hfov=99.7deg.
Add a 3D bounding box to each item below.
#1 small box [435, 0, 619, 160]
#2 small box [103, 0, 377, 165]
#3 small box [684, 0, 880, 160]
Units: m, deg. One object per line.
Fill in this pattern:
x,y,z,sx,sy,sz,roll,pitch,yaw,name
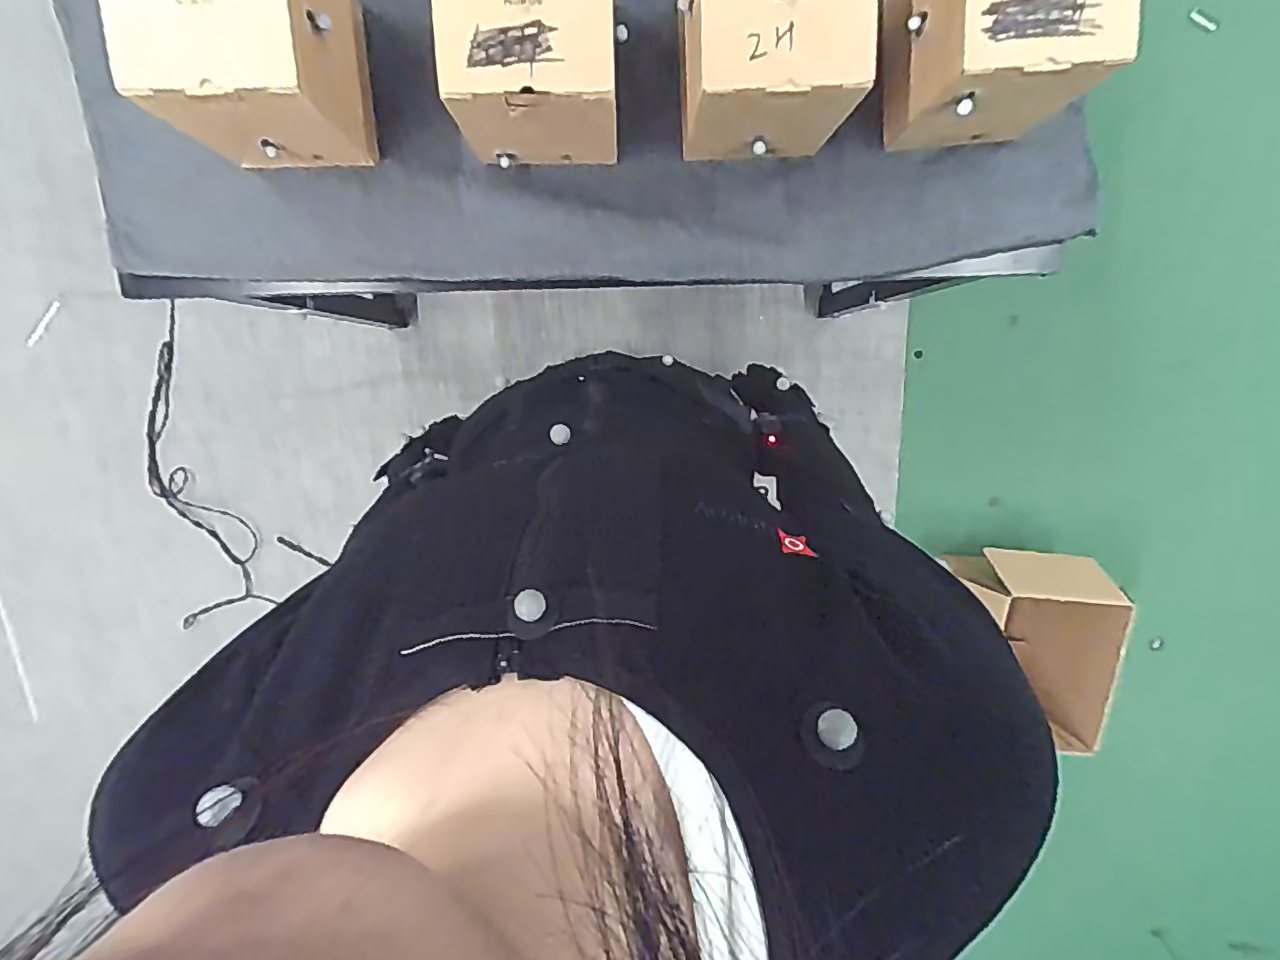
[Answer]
-0.105,-0.458,0.566,0.168,0.176,0.179,-1,100,-2,small box
-0.394,-0.452,0.556,0.168,0.176,0.179,-3,100,-2,small box
0.137,-0.468,0.572,0.168,0.176,0.179,-3,101,0,small box
